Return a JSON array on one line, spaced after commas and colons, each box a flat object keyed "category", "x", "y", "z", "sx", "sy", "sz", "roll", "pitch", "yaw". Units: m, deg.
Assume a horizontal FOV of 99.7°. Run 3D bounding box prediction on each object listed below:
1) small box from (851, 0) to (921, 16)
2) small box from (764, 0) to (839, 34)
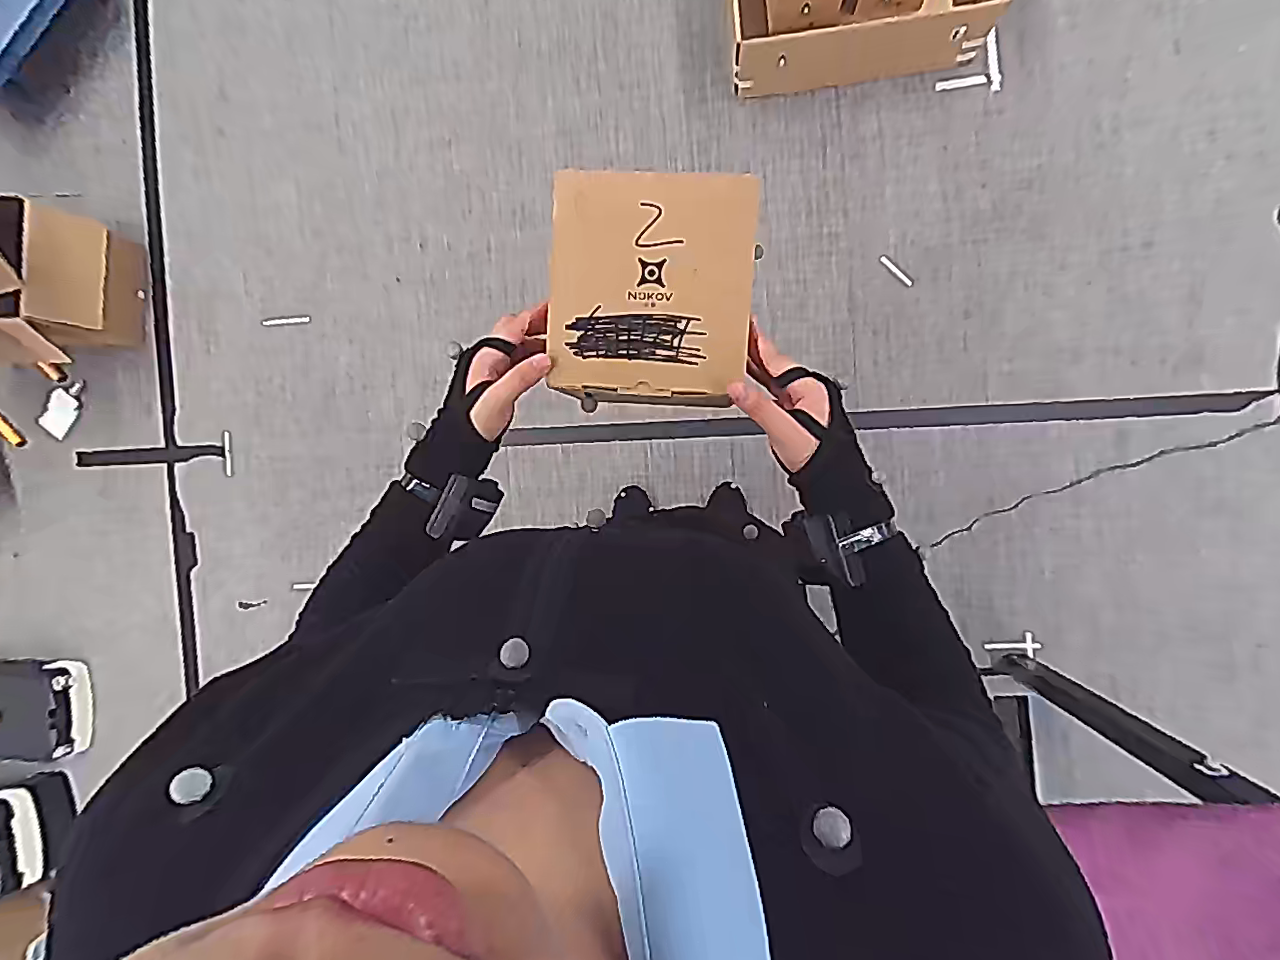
[{"category": "small box", "x": 0.611, "y": -1.266, "z": 1.289, "sx": 0.168, "sy": 0.176, "sz": 0.179, "roll": 1, "pitch": 92, "yaw": 7}, {"category": "small box", "x": 0.397, "y": -1.231, "z": 1.311, "sx": 0.168, "sy": 0.176, "sz": 0.179, "roll": -6, "pitch": 90, "yaw": 5}]
